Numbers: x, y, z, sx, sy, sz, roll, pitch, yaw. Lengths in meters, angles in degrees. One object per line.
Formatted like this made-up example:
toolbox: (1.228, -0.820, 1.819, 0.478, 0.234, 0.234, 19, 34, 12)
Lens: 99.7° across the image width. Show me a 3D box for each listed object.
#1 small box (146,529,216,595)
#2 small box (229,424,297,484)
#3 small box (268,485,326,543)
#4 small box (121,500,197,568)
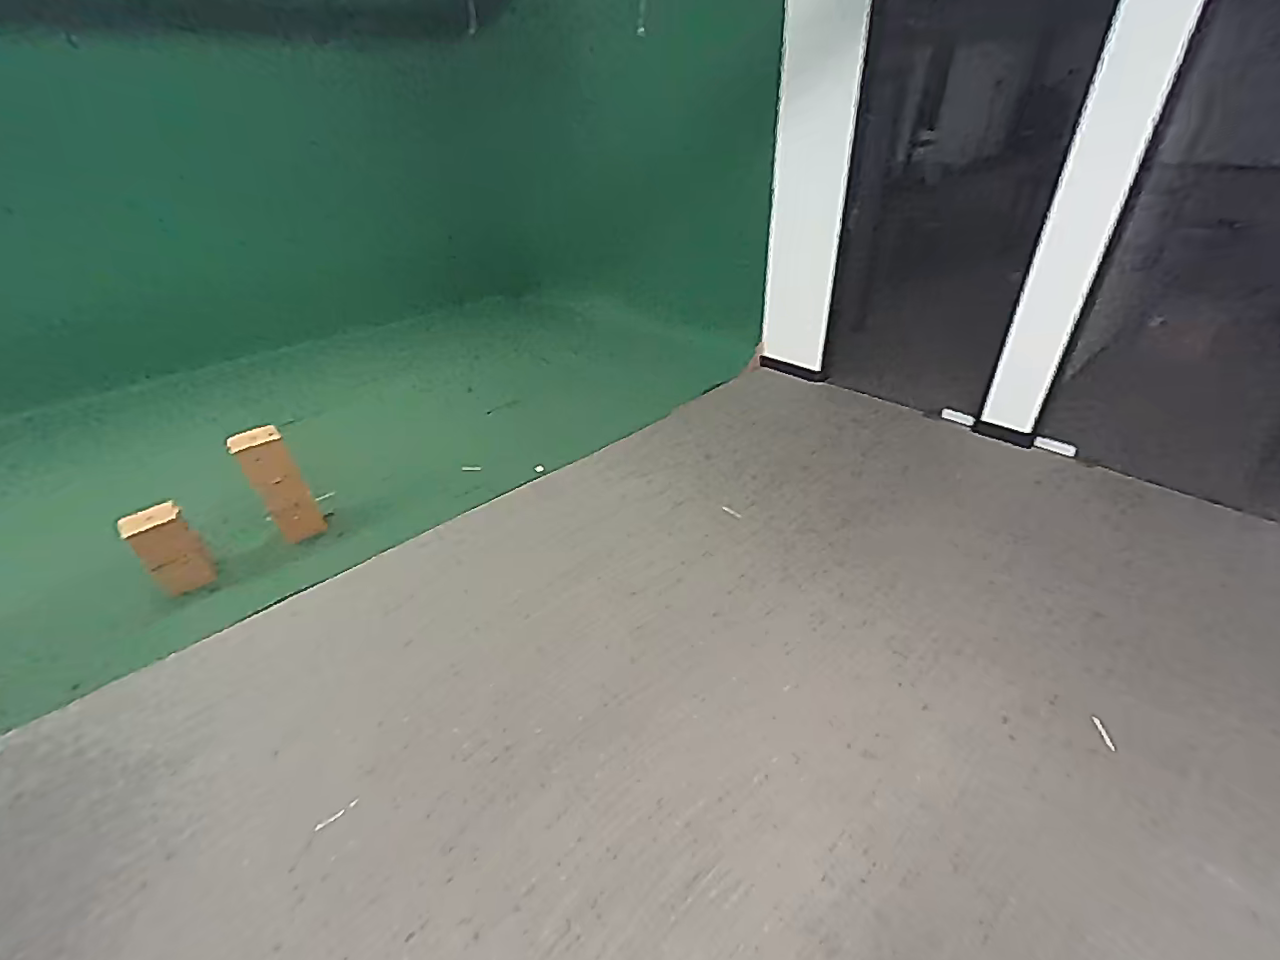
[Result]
small box: (-1.886, 0.340, 2.232, 0.179, 0.176, 0.168, -24, 39, -27)
small box: (-1.589, -0.109, 2.280, 0.179, 0.176, 0.168, -27, 41, -29)
small box: (-1.562, 0.157, 2.471, 0.179, 0.176, 0.168, -26, 41, -28)
small box: (-1.889, 0.211, 2.132, 0.179, 0.176, 0.168, -31, 42, -33)
